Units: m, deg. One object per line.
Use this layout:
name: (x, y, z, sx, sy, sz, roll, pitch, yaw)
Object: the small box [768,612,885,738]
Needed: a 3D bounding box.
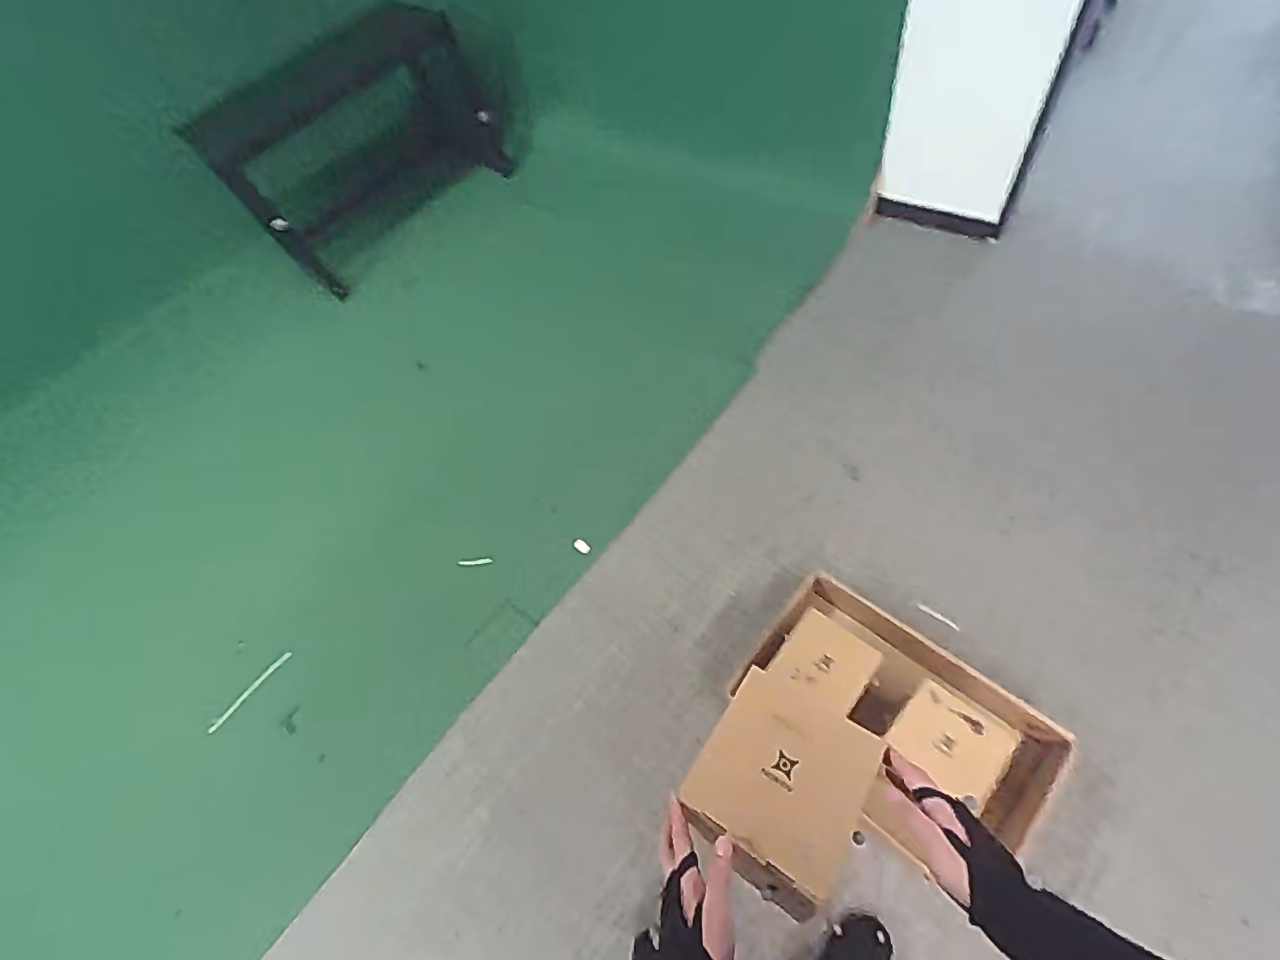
small box: (0.387, 0.419, 1.150, 0.168, 0.176, 0.179, 35, 73, 28)
